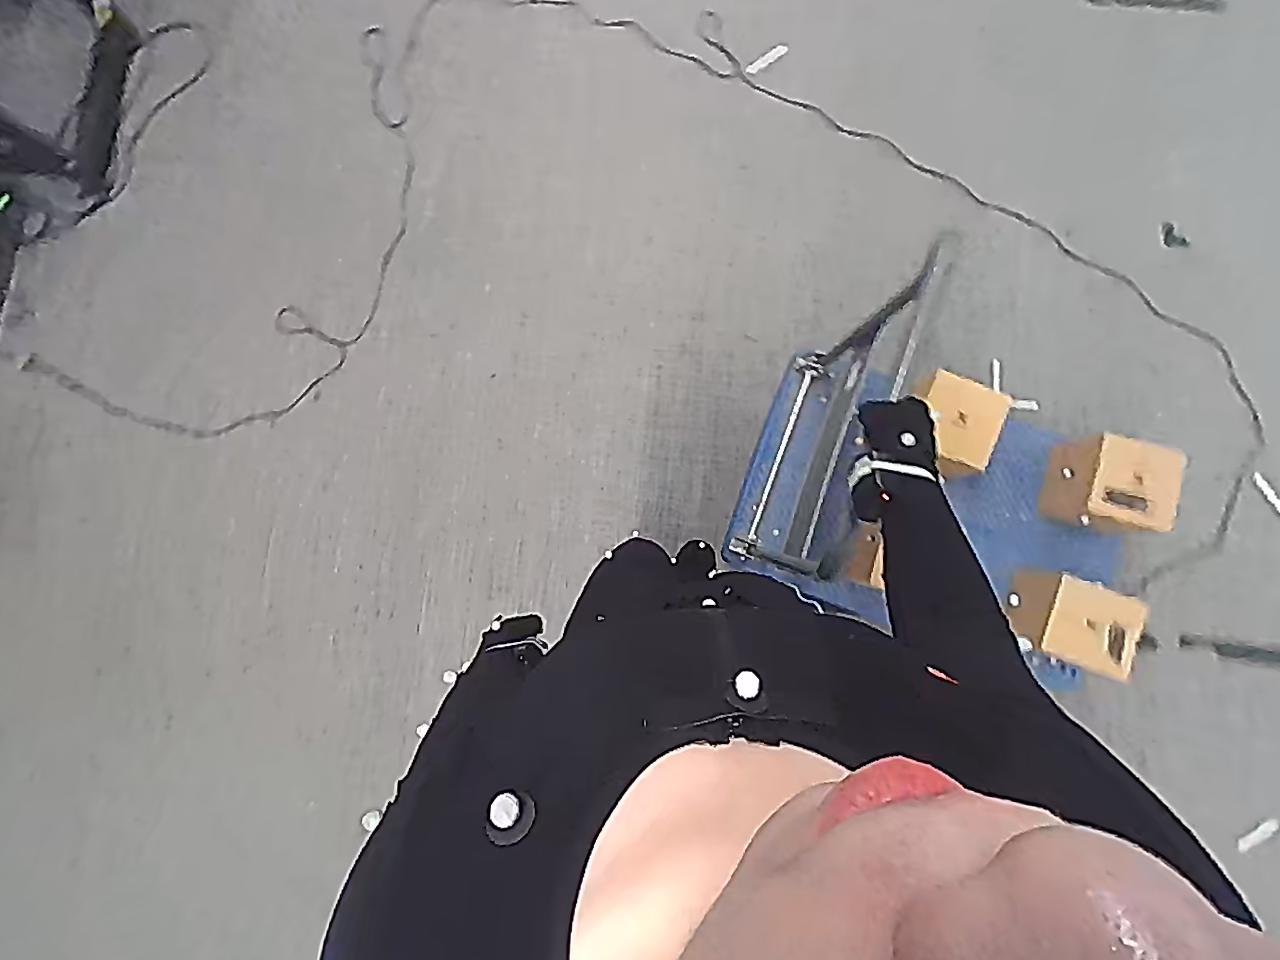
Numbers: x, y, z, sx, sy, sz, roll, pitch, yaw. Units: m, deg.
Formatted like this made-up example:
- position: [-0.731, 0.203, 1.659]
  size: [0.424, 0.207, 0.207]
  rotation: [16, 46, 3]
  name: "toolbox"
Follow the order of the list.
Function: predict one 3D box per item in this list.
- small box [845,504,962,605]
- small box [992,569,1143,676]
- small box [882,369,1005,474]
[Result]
- position: [0.584, 0.165, 1.221]
  size: [0.168, 0.176, 0.179]
  rotation: [17, 85, 5]
  name: "small box"
- position: [0.929, 0.302, 1.190]
  size: [0.179, 0.176, 0.168]
  rotation: [20, 85, 6]
  name: "small box"
- position: [0.687, -0.126, 1.246]
  size: [0.168, 0.176, 0.179]
  rotation: [22, 86, 5]
  name: "small box"
